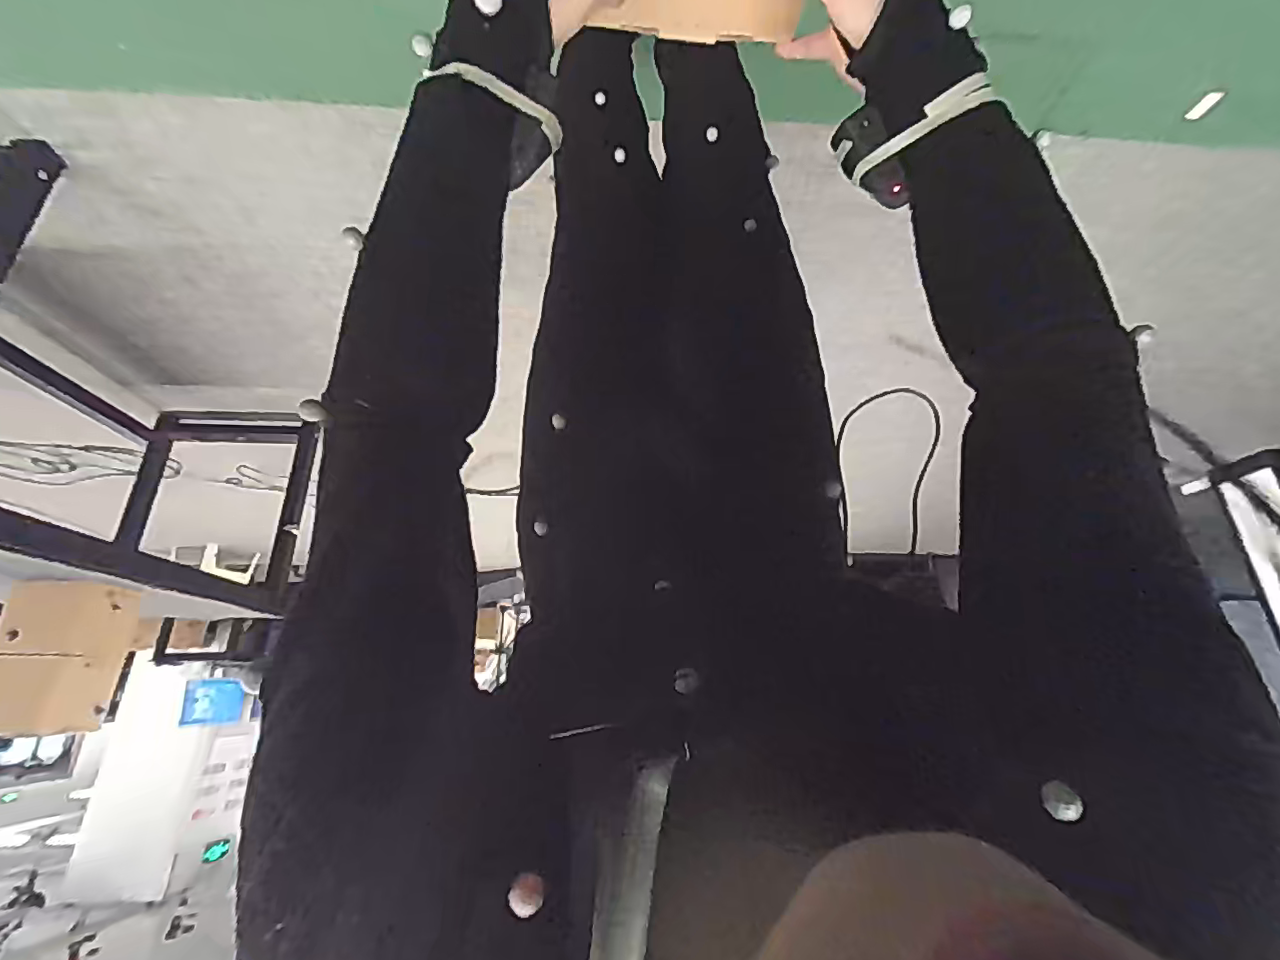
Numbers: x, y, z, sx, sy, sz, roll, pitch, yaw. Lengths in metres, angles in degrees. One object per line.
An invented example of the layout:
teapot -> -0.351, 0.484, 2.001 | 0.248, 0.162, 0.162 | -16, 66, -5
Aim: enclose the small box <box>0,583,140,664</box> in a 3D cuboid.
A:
small box -> -1.365, 0.343, 1.290 | 0.179, 0.176, 0.168 | 1, 159, -3
